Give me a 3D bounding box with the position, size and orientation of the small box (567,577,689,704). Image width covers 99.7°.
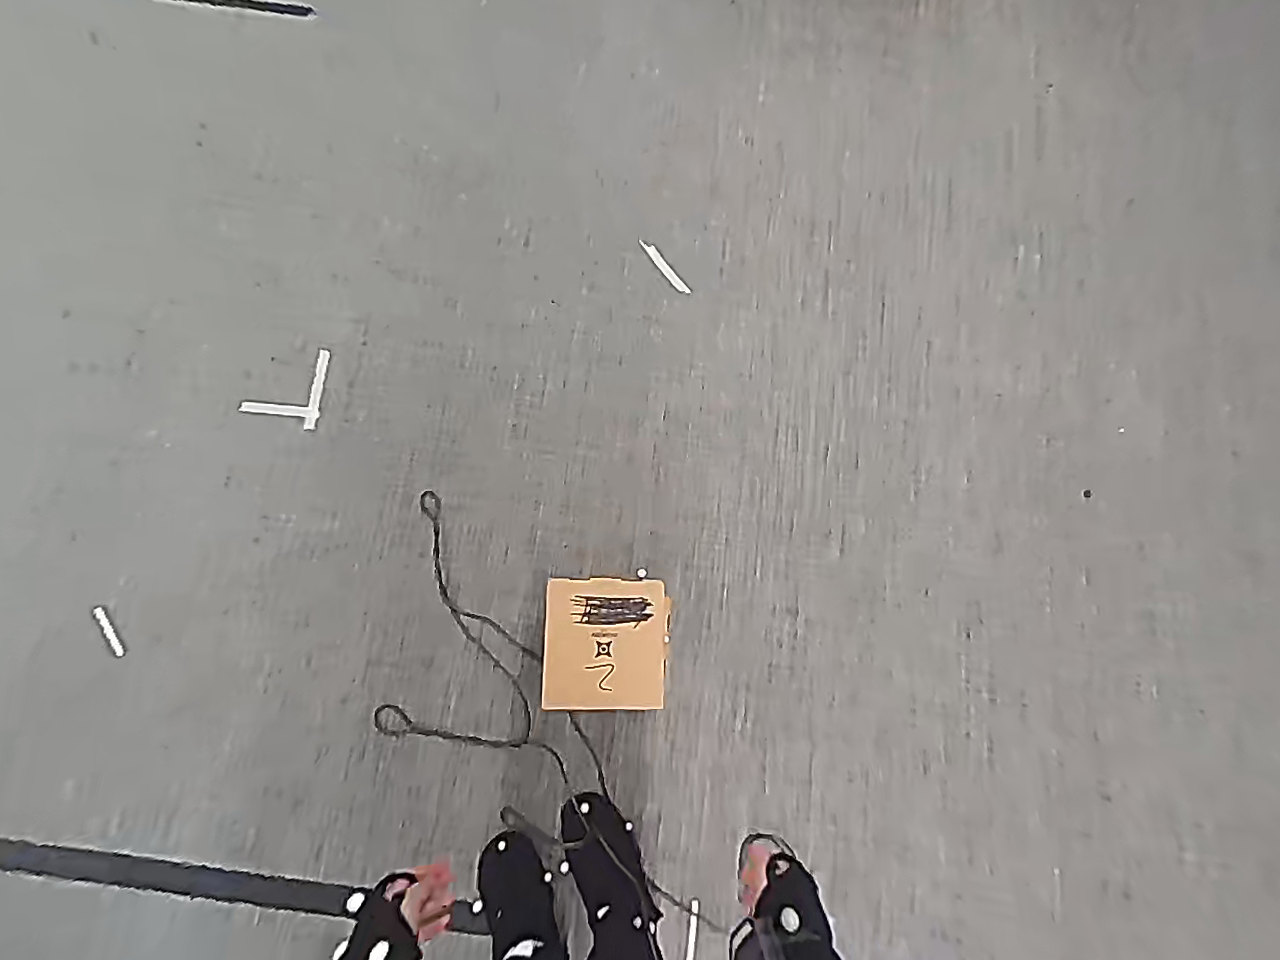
[{"bbox_3d":[-0.024,0.282,0.934,0.168,0.176,0.179,10,59,-19],"label":"small box"}]
